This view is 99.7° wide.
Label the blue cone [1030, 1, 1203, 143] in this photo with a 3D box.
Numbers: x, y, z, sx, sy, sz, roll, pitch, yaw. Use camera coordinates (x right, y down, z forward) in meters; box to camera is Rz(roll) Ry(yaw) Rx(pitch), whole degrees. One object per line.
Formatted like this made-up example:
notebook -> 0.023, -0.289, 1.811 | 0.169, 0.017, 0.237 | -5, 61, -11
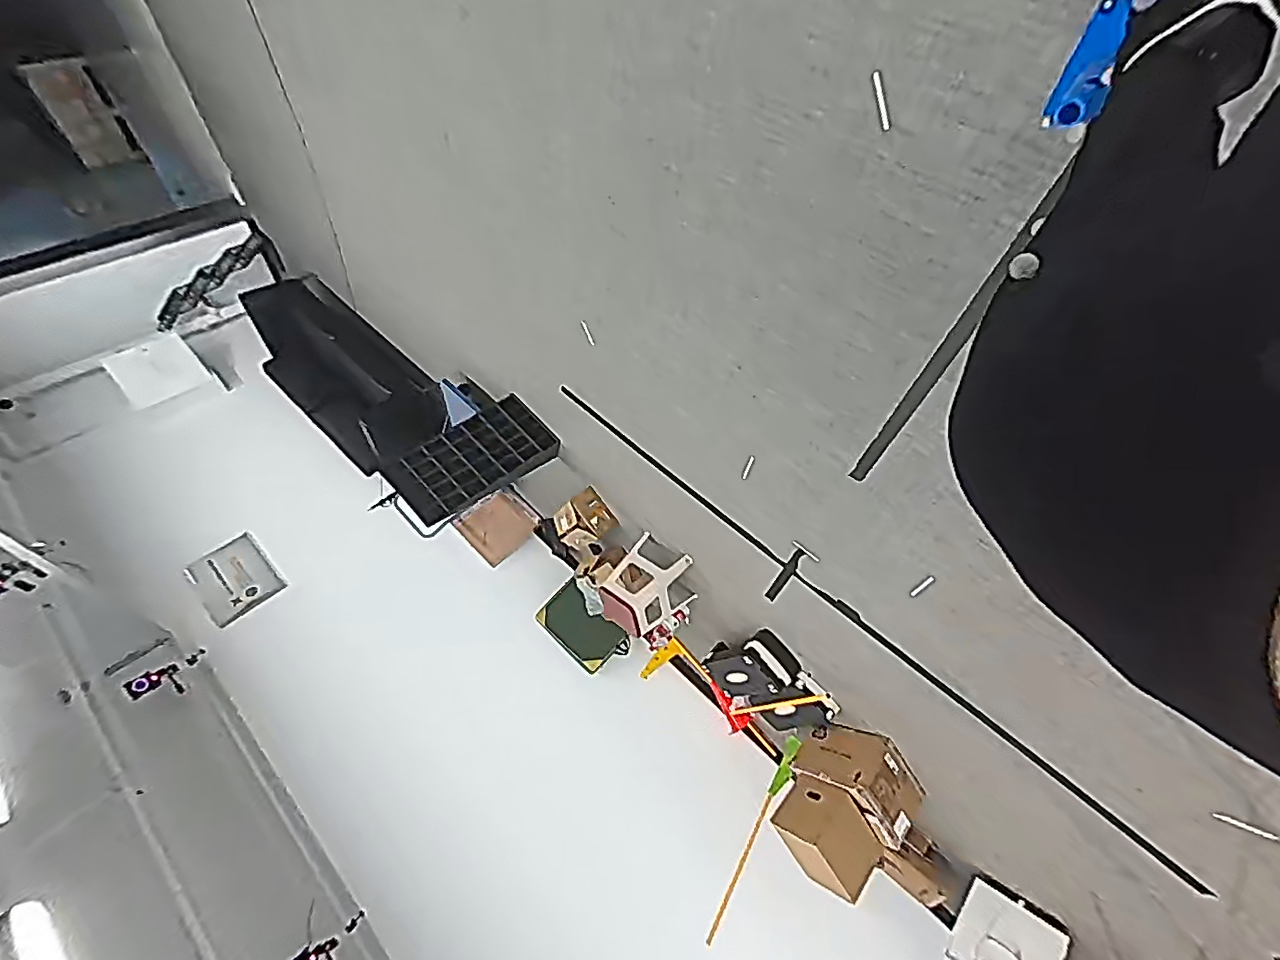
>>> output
blue cone -> 0.741, -0.643, 0.895 | 0.192, 0.380, 0.193 | 39, 148, 24
